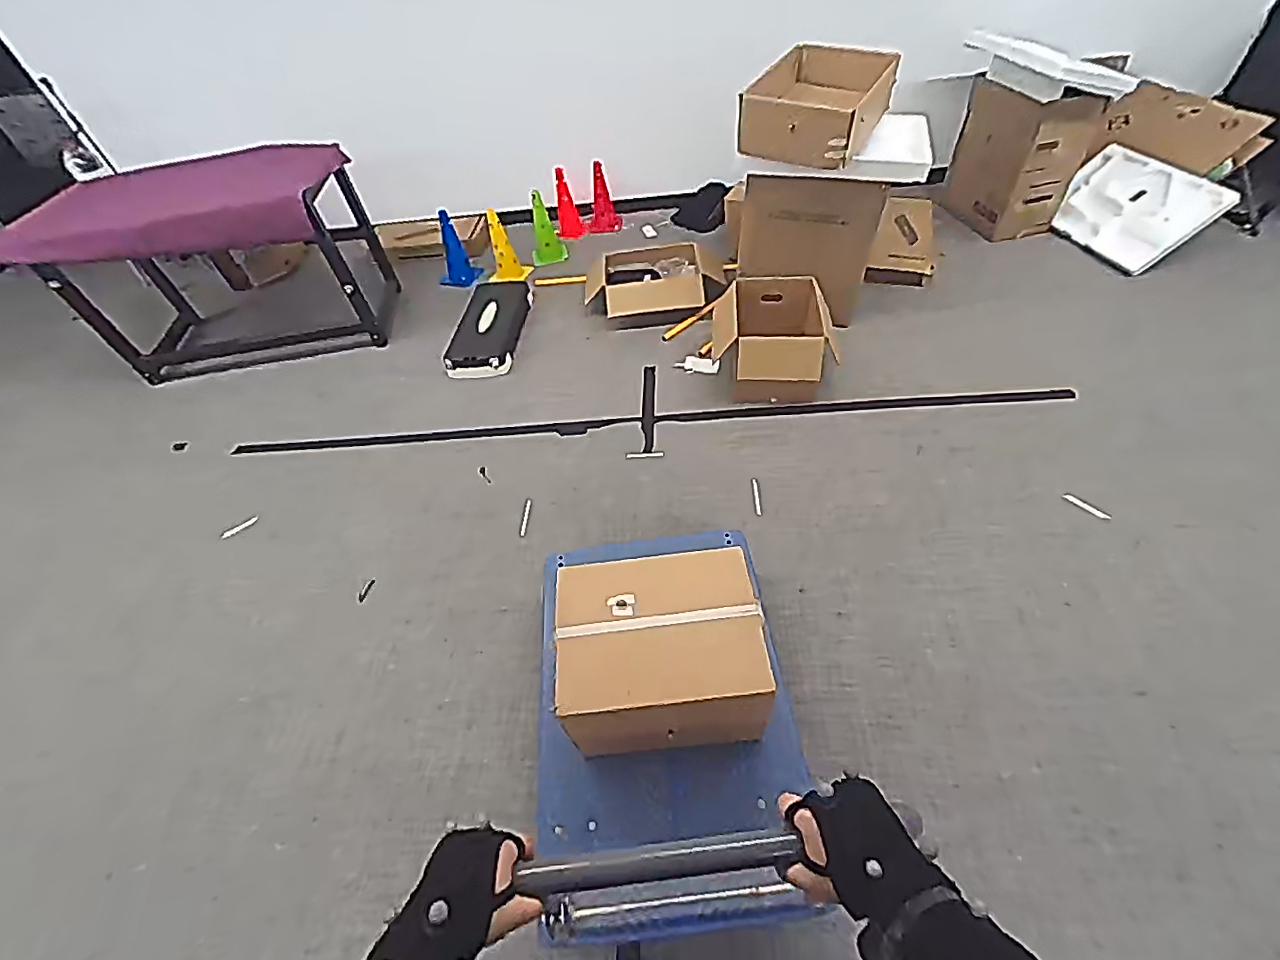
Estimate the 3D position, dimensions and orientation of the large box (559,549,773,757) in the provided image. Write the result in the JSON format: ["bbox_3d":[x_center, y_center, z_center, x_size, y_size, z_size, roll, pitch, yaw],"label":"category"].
[{"bbox_3d":[0.051,0.389,1.198,0.408,0.320,0.320,-8,48,1],"label":"large box"}]
